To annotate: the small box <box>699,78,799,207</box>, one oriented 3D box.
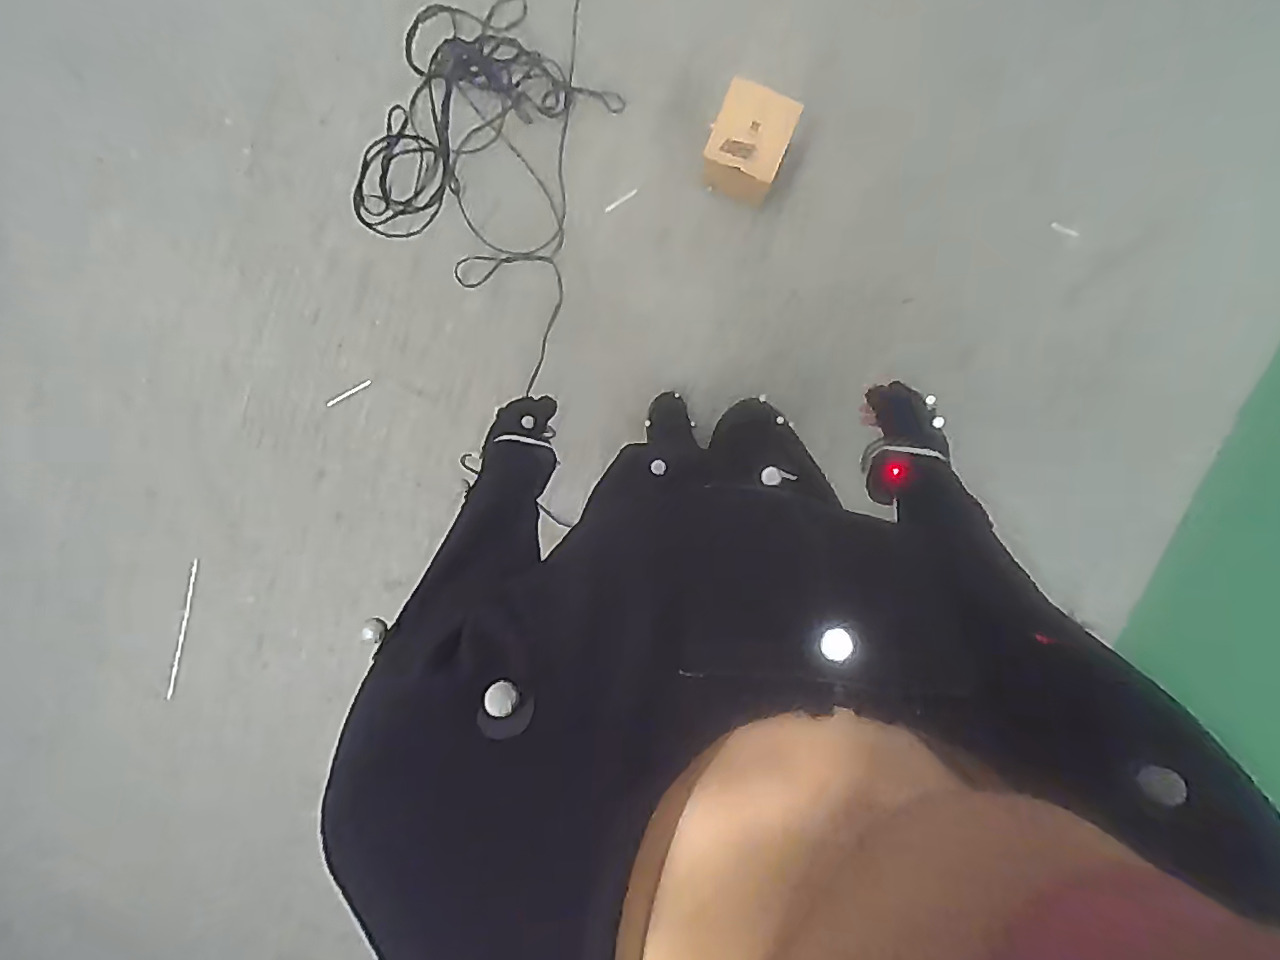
[{"bbox_3d":[0.245,-0.771,1.259,0.168,0.176,0.179,22,99,-1],"label":"small box"}]
